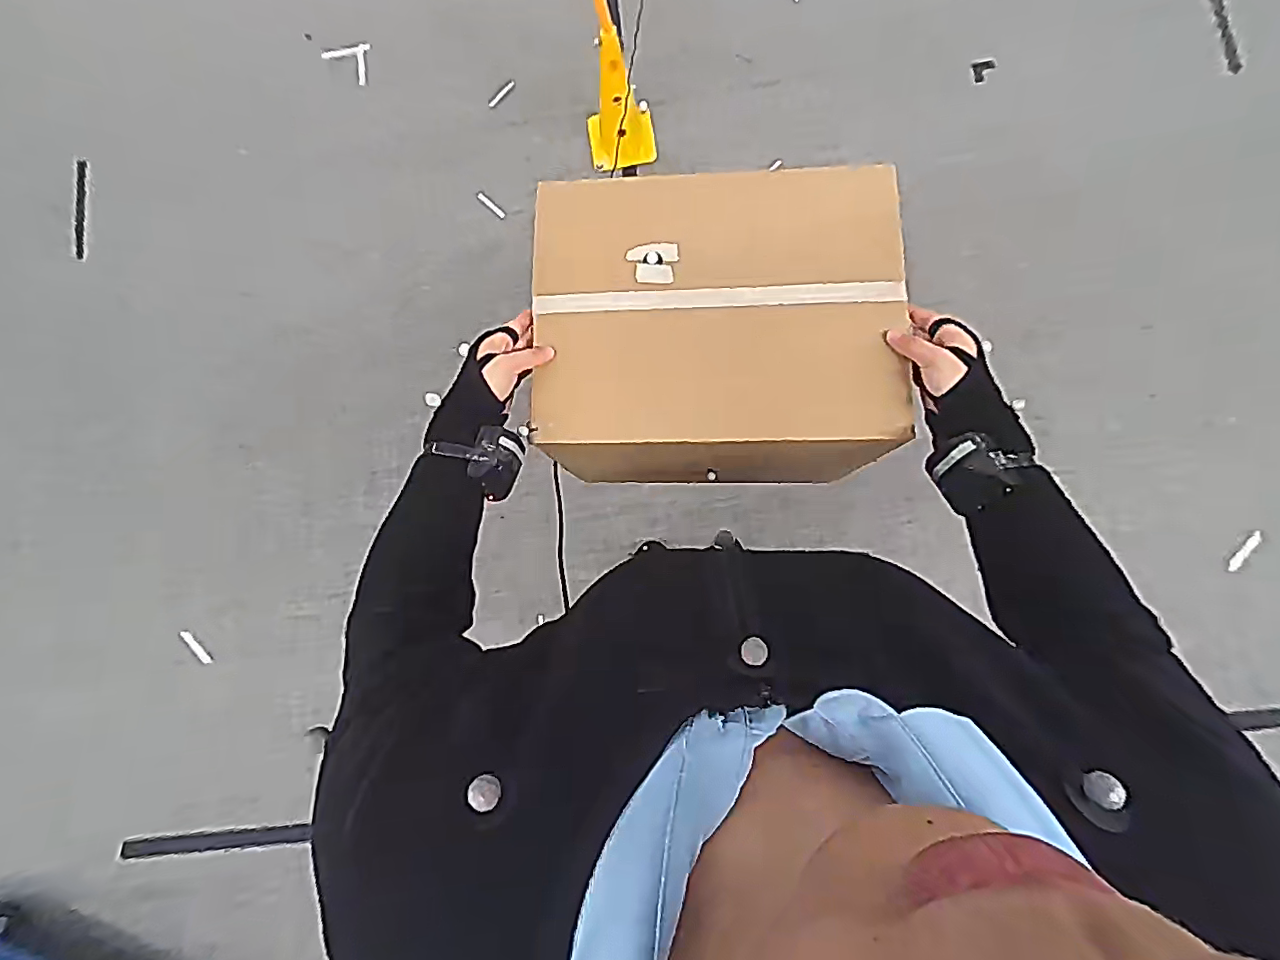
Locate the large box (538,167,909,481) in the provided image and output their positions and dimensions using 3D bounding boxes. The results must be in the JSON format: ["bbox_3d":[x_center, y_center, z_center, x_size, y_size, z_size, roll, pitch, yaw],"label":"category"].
[{"bbox_3d":[0.097,-0.174,0.749,0.408,0.320,0.320,-1,80,5],"label":"large box"}]
